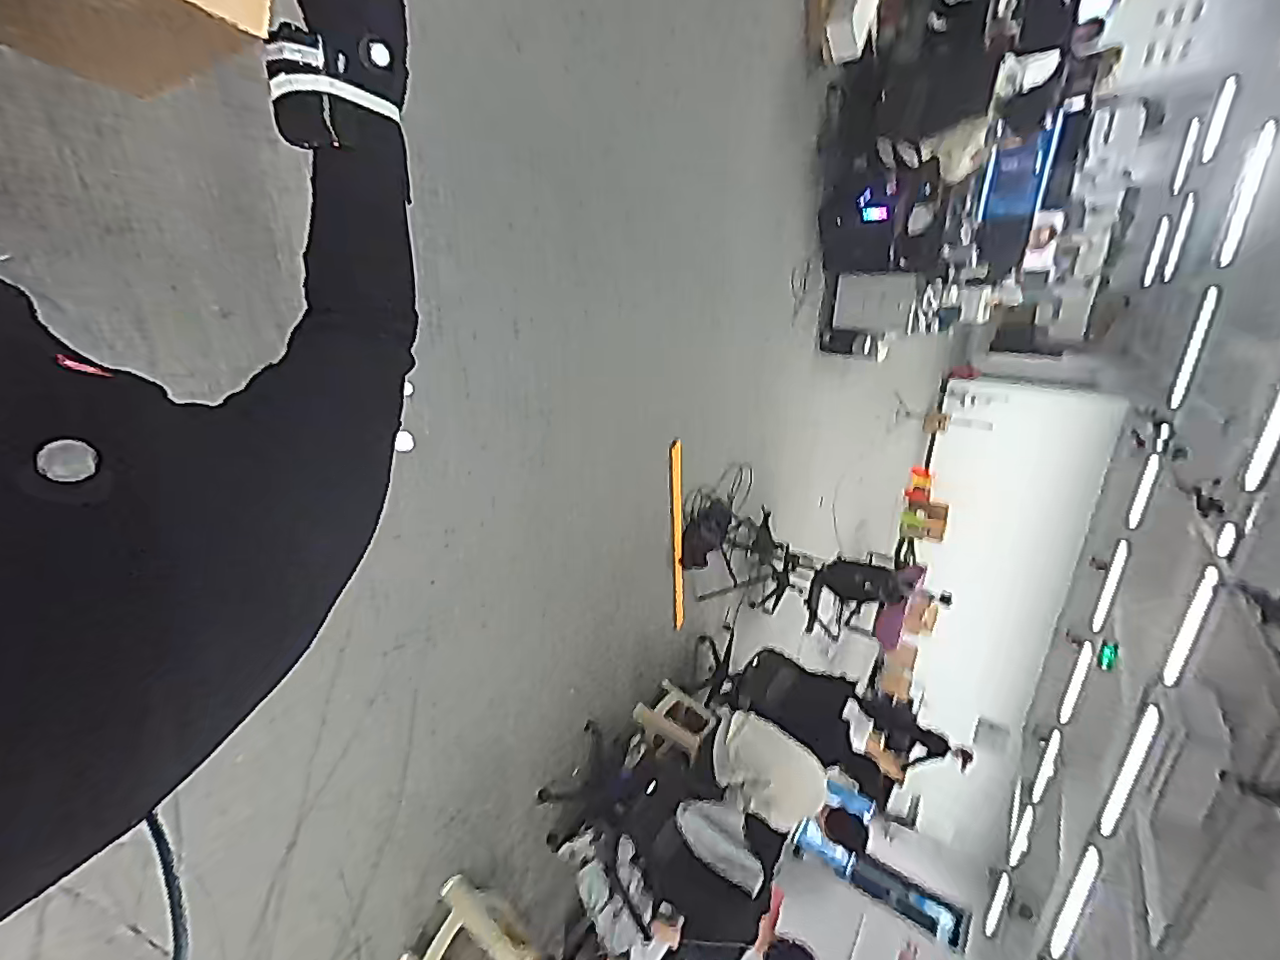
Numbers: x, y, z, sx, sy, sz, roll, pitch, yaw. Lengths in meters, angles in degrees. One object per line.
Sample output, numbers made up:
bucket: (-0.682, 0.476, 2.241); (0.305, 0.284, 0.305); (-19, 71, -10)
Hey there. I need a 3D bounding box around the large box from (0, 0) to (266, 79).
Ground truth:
large box: (-0.455, -0.473, 0.249); (0.408, 0.320, 0.320); (-6, 112, -52)
